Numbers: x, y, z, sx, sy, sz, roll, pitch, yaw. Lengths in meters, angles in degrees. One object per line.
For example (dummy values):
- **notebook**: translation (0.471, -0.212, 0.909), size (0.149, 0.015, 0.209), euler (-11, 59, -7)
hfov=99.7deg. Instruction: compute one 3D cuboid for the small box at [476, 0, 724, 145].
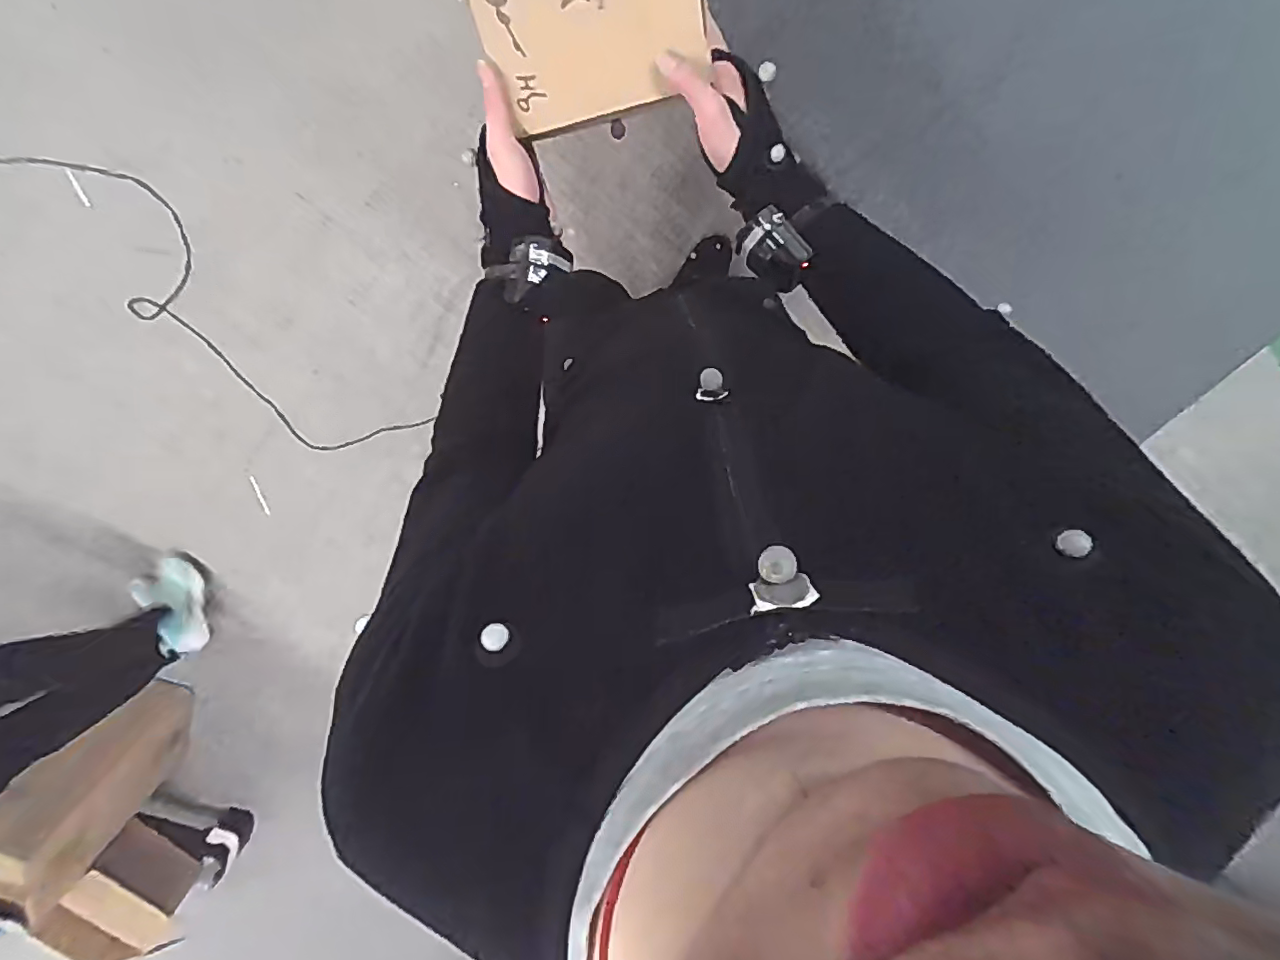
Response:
- **small box**: translation (-0.038, -0.399, 0.460), size (0.179, 0.176, 0.168), euler (-12, 119, 3)
